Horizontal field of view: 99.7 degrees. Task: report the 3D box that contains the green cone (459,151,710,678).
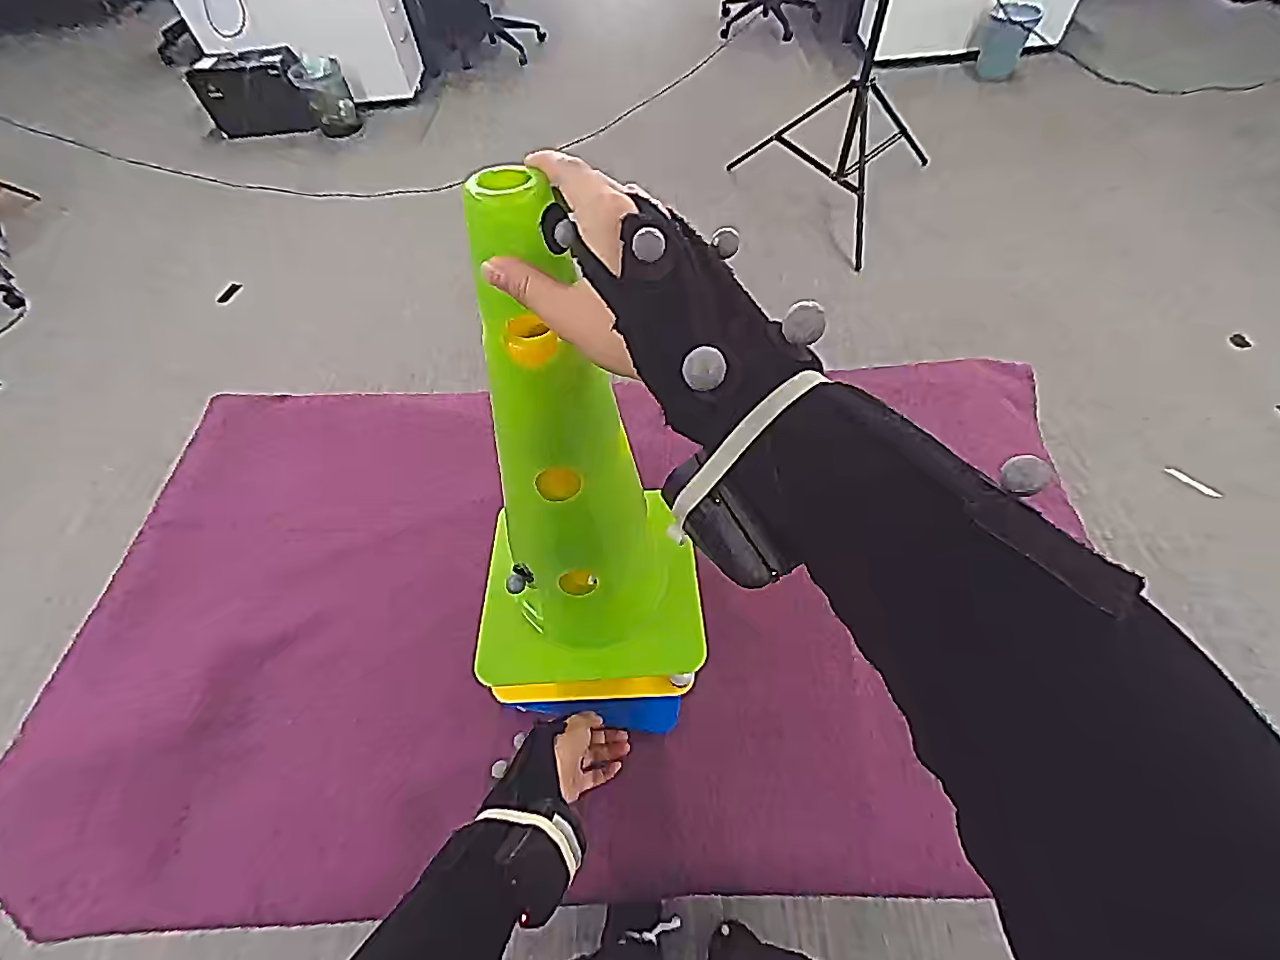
[{"bbox_3d":[-0.054,-0.027,0.381,0.200,0.368,0.202,-5,50,1],"label":"green cone"}]
